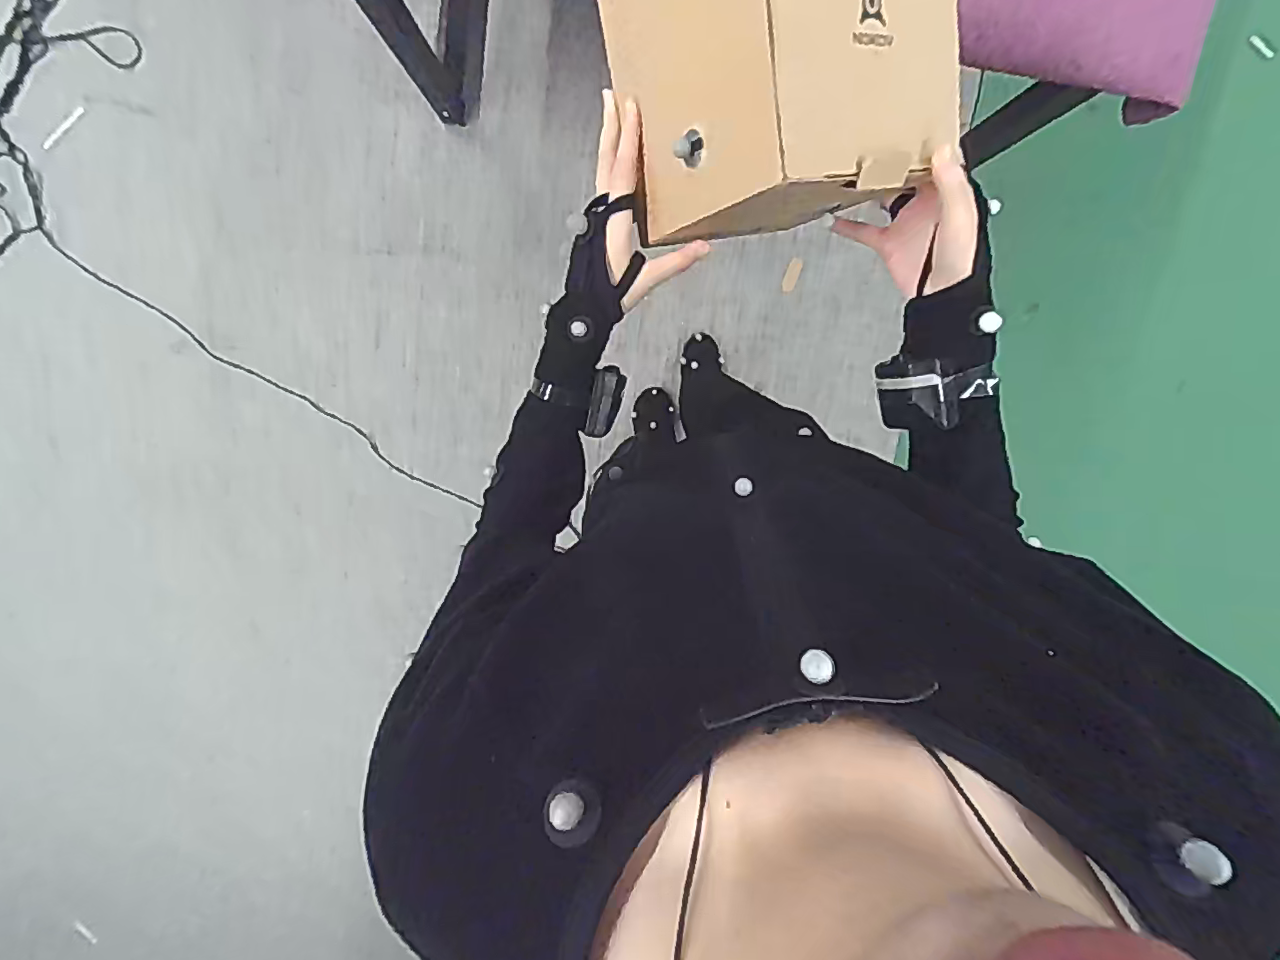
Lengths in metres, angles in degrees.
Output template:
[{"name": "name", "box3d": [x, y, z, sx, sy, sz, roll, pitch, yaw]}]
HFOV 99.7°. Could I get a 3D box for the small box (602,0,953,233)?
[{"name": "small box", "box3d": [0.090, -0.286, 0.384, 0.168, 0.176, 0.179, -17, 106, -26]}]
